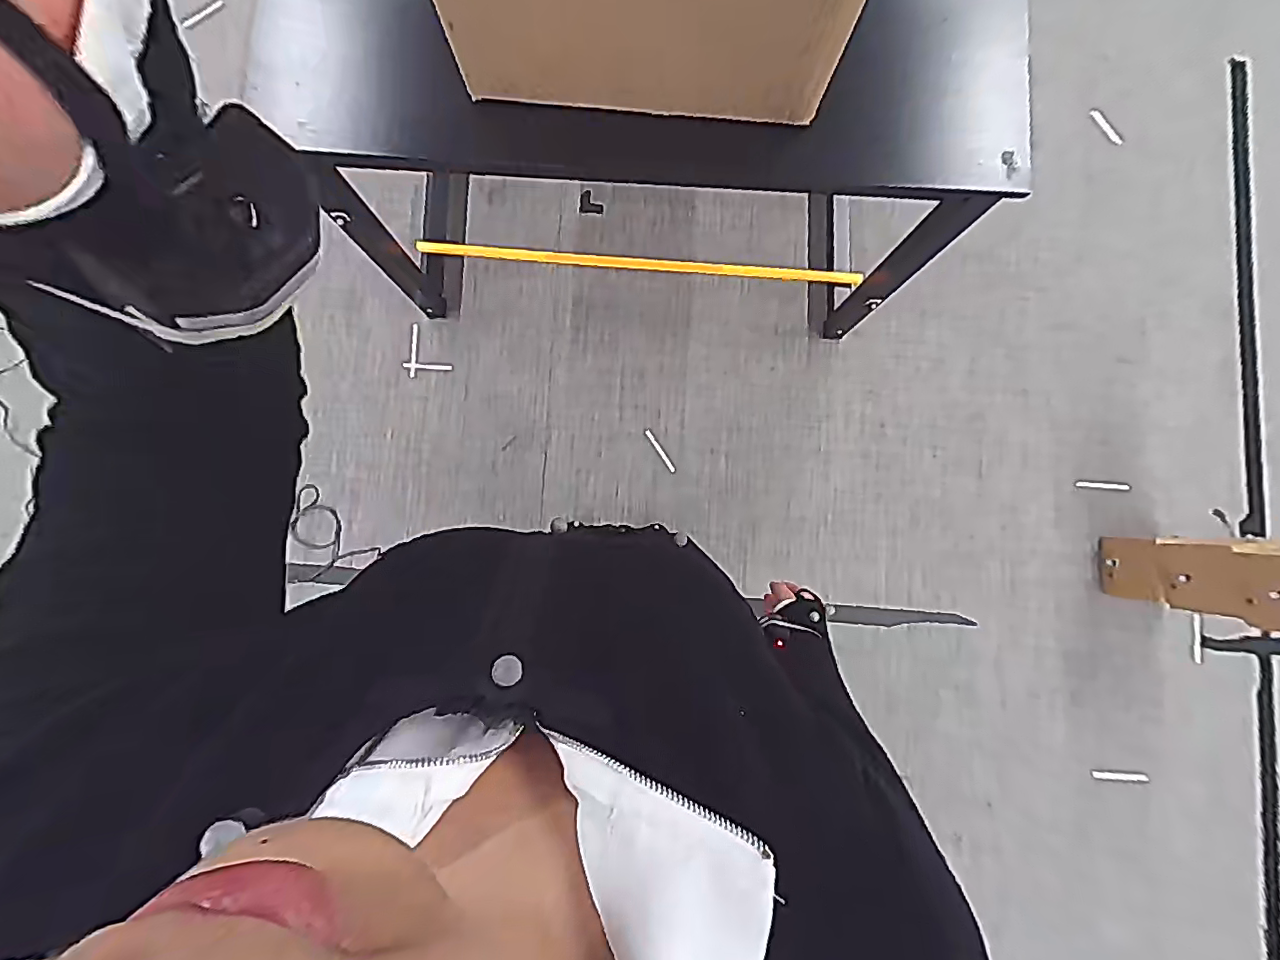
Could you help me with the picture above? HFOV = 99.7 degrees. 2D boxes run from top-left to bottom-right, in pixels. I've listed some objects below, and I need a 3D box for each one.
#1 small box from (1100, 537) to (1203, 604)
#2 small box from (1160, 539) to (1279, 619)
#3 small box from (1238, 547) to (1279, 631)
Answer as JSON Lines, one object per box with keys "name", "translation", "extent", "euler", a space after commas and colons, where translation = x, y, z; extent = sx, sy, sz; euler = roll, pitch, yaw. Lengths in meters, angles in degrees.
{"name": "small box", "translation": [1.389, 0.238, 1.446], "extent": [0.179, 0.176, 0.168], "euler": [0, 84, 0]}
{"name": "small box", "translation": [1.406, 0.228, 1.281], "extent": [0.179, 0.176, 0.168], "euler": [-5, 84, -2]}
{"name": "small box", "translation": [1.406, 0.226, 1.117], "extent": [0.179, 0.176, 0.168], "euler": [-7, 85, -2]}
